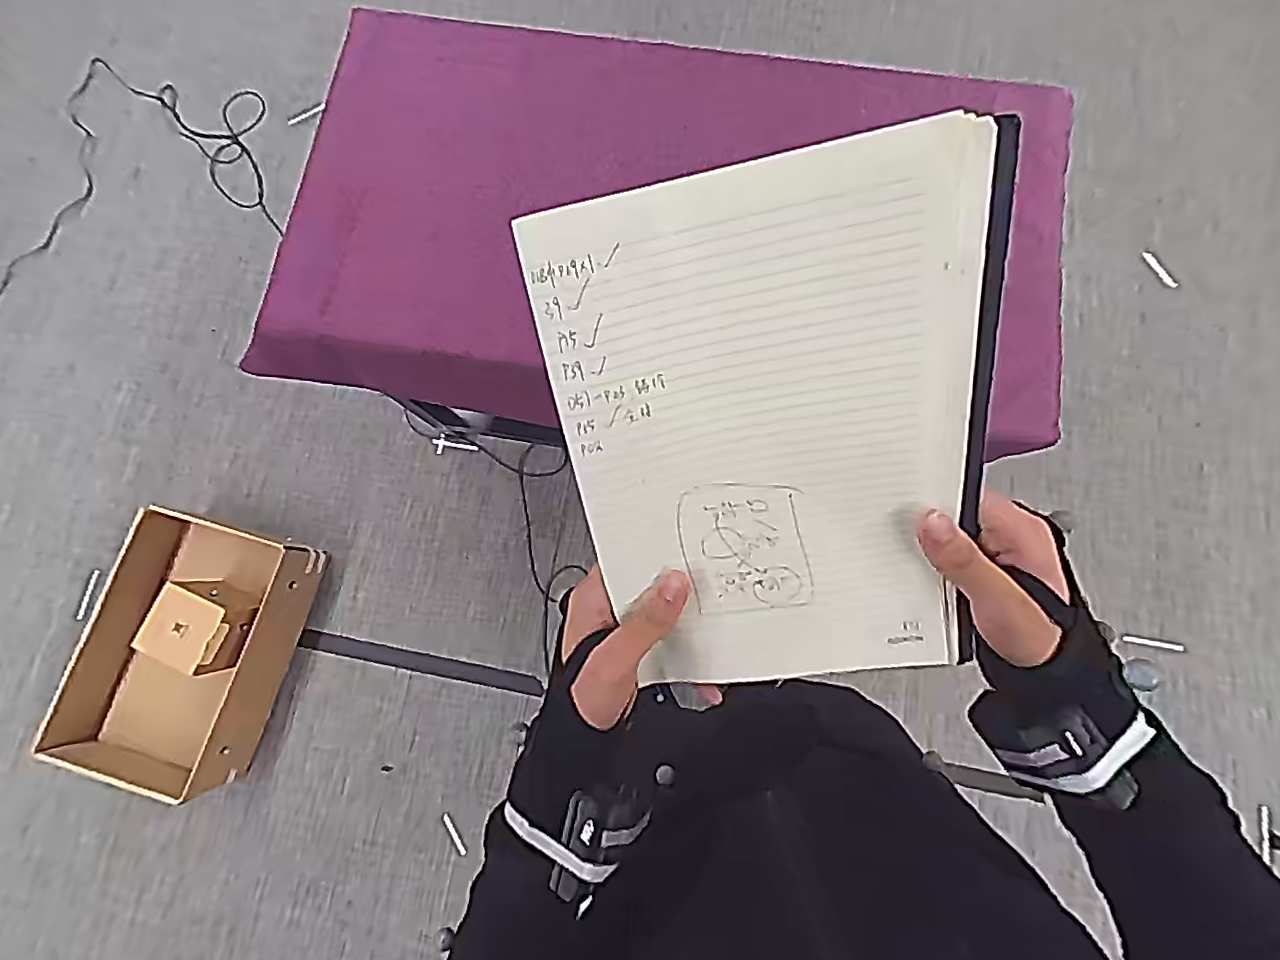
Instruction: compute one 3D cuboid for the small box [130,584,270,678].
[{"bbox_3d":[-1.077,0.364,1.343,0.179,0.176,0.168,23,81,5],"label":"small box"}]
